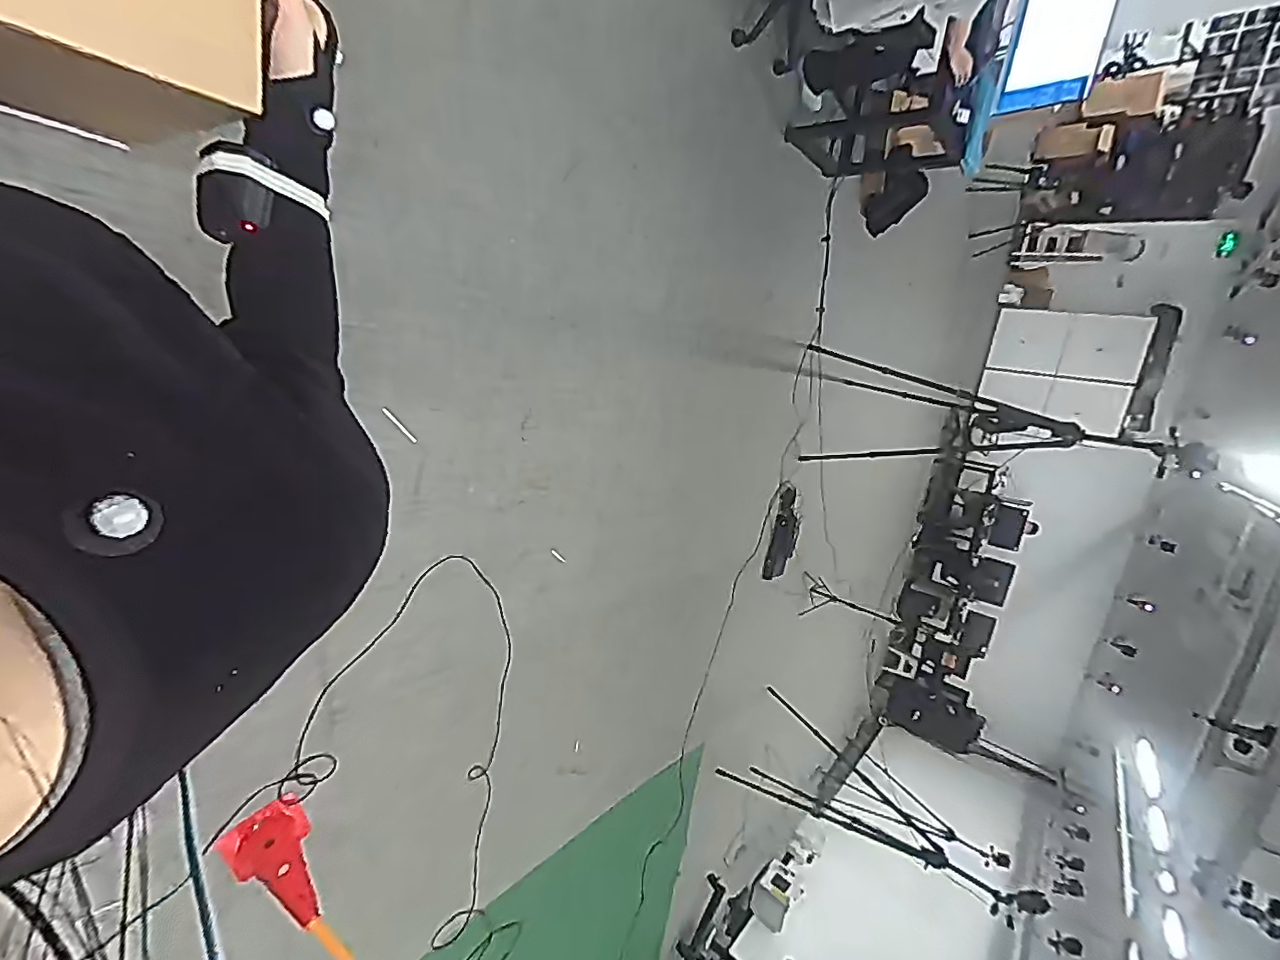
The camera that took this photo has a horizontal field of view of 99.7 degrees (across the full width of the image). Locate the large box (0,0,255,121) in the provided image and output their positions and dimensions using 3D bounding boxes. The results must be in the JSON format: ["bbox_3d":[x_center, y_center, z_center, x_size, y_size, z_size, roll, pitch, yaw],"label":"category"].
[{"bbox_3d":[-0.517,-0.458,0.314,0.408,0.320,0.320,-12,116,-52],"label":"large box"}]
